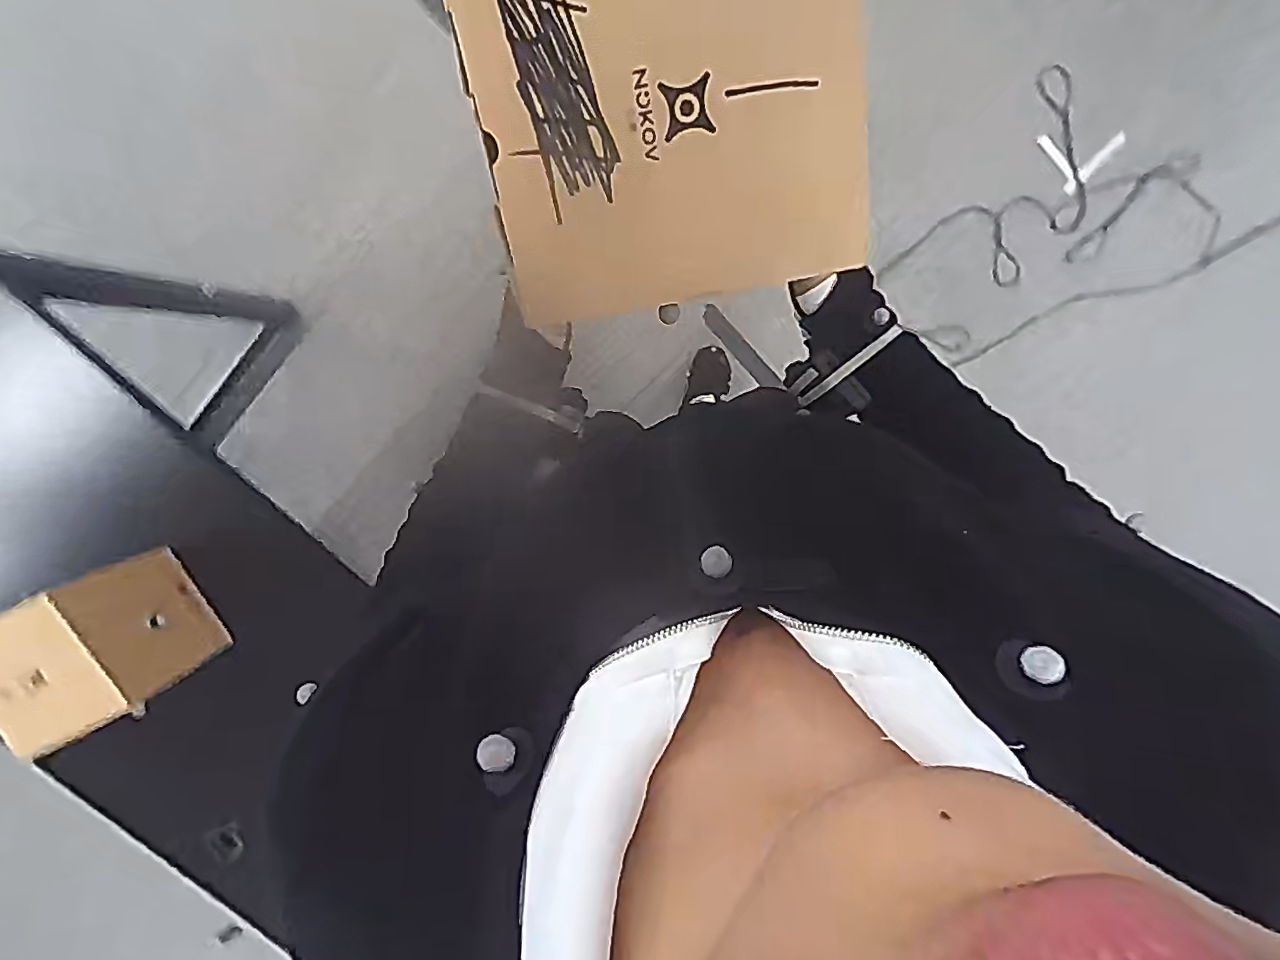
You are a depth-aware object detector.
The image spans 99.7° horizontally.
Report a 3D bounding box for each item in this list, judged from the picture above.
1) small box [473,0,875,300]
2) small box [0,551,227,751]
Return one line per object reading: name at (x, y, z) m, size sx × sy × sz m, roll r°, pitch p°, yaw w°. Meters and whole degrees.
small box at (0.022, -0.206, 0.322) m, size 0.179 × 0.176 × 0.168 m, roll -8°, pitch 112°, yaw 4°
small box at (-0.720, 0.220, 0.739) m, size 0.179 × 0.176 × 0.168 m, roll -26°, pitch 100°, yaw 7°
